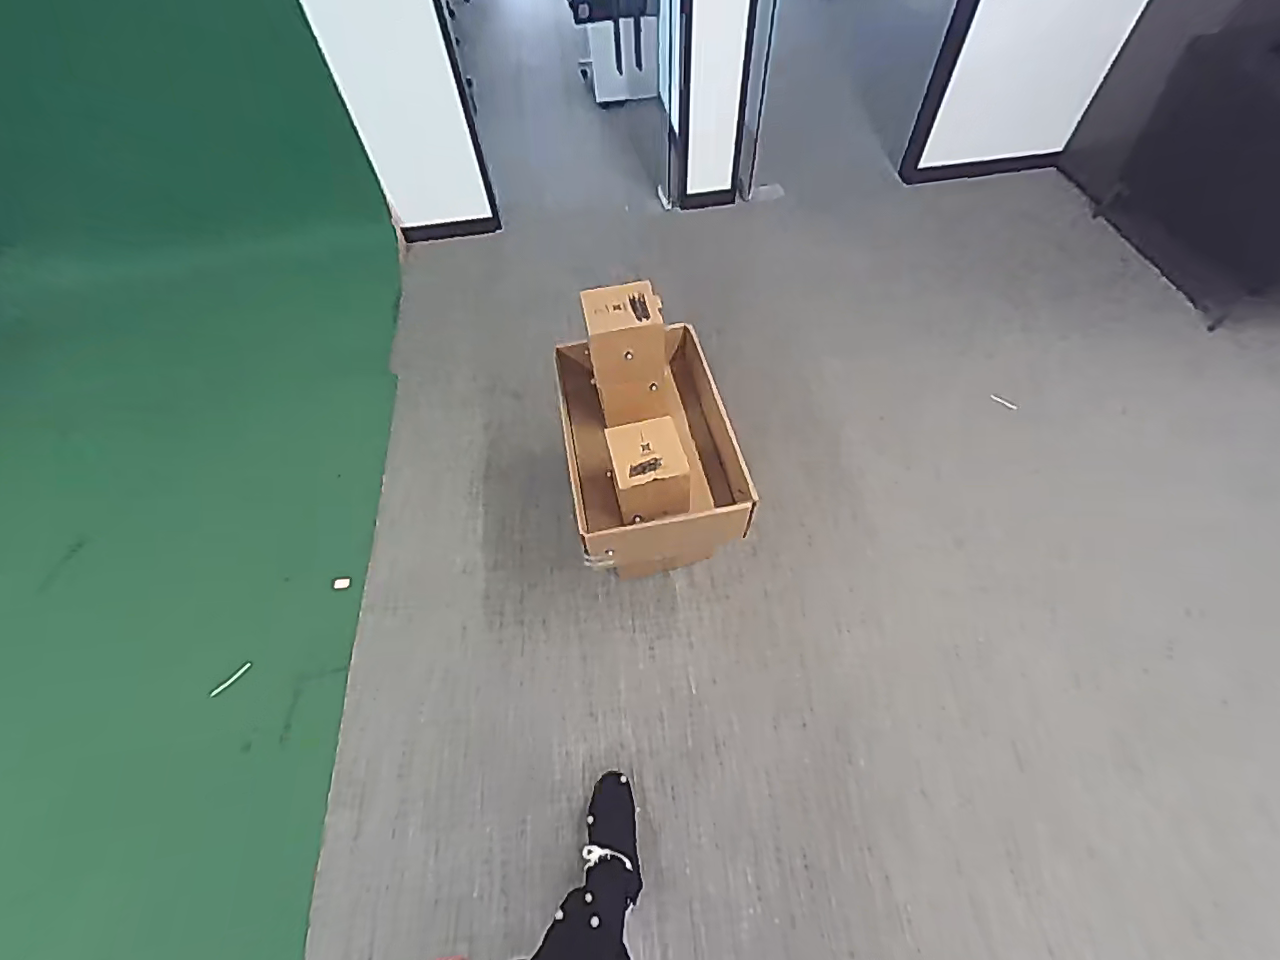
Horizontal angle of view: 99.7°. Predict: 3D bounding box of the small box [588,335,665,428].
[{"bbox_3d":[-0.033,-0.260,1.461,0.179,0.176,0.168,-13,56,-7],"label":"small box"}]
